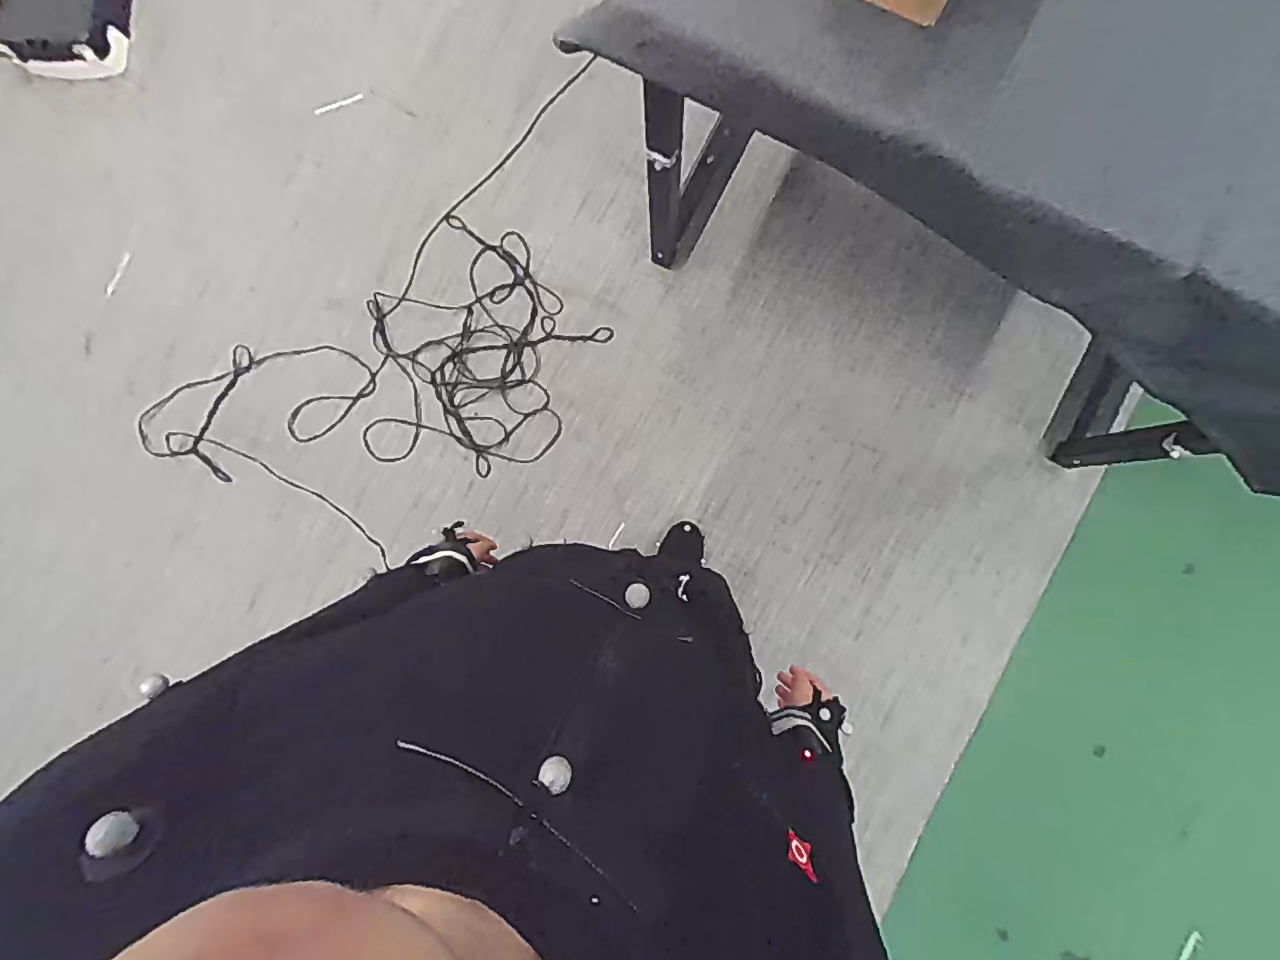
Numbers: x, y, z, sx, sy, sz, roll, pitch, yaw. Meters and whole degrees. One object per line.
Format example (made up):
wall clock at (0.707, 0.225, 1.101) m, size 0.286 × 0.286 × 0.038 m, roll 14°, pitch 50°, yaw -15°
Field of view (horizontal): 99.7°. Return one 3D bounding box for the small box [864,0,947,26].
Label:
small box at (0.325, -0.675, 0.597) m, size 0.168 × 0.176 × 0.179 m, roll 26°, pitch 88°, yaw 2°
